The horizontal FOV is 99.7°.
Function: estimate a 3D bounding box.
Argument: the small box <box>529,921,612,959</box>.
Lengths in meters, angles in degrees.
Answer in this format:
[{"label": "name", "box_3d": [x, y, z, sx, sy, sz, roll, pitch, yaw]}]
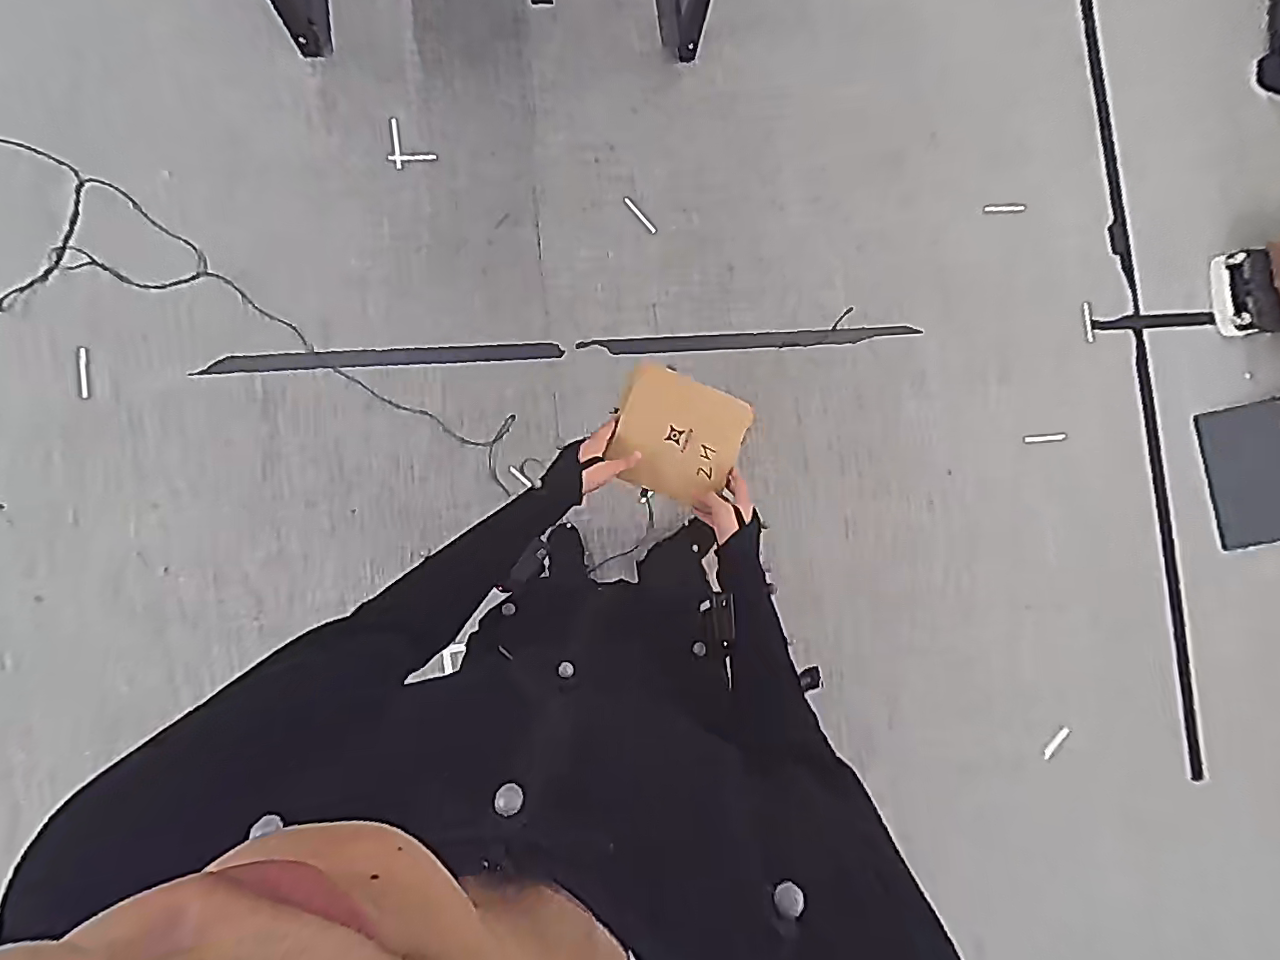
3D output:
[{"label": "small box", "box_3d": [-0.141, 1.025, 1.081, 0.168, 0.176, 0.179, 1, 88, -7]}]

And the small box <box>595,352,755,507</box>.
[{"label": "small box", "box_3d": [0.040, -0.073, 0.809, 0.179, 0.176, 0.168, 20, 93, -9]}]
